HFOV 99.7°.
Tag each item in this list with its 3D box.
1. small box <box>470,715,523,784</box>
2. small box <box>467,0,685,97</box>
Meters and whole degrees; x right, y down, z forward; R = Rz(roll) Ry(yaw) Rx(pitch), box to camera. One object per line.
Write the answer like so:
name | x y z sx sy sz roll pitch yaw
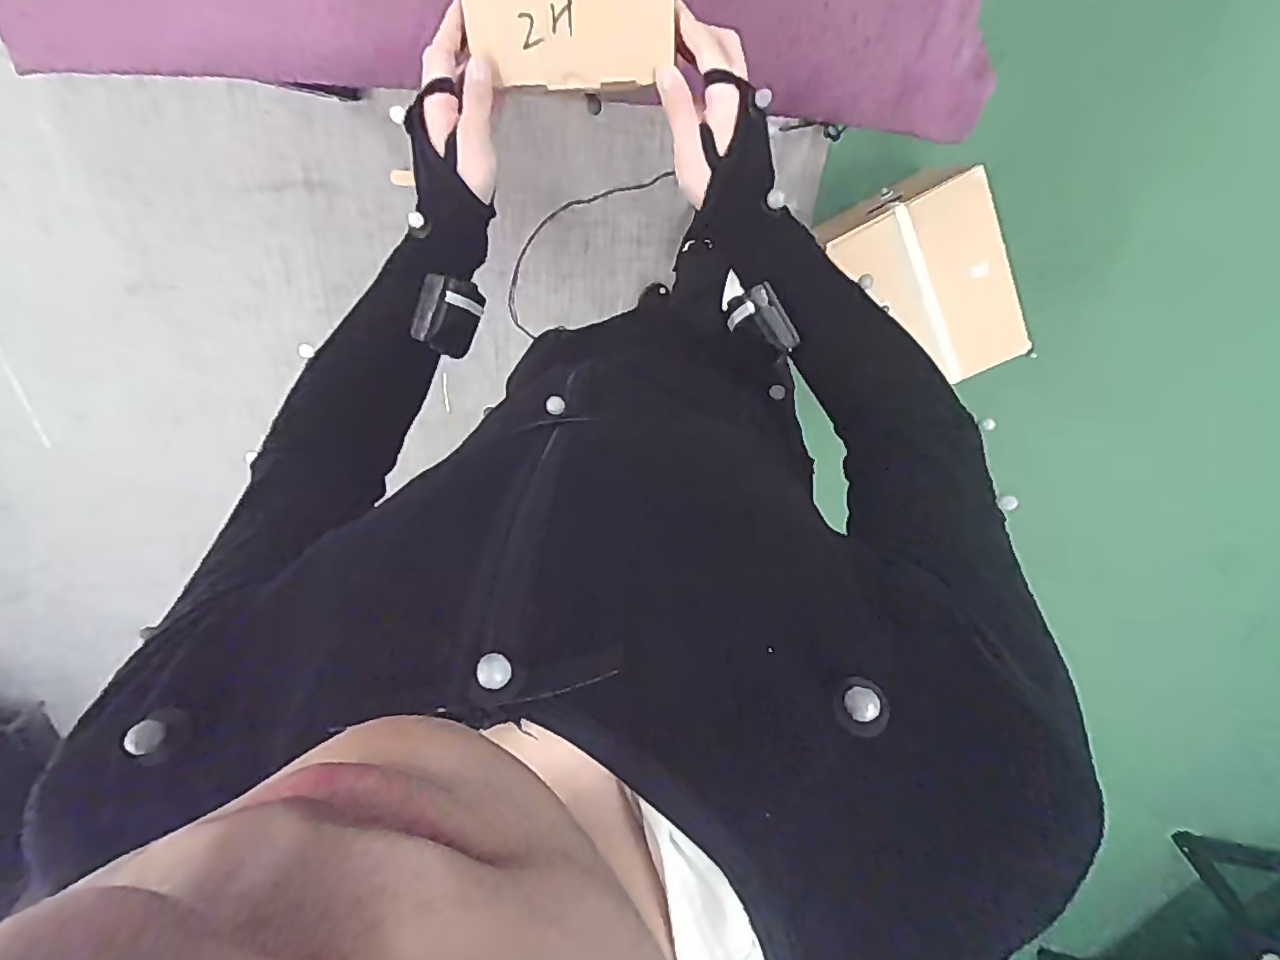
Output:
small box | -0.599 1.121 2.258 0.168 0.176 0.179 13 117 3
small box | -0.046 -0.439 0.459 0.168 0.176 0.179 2 123 5
